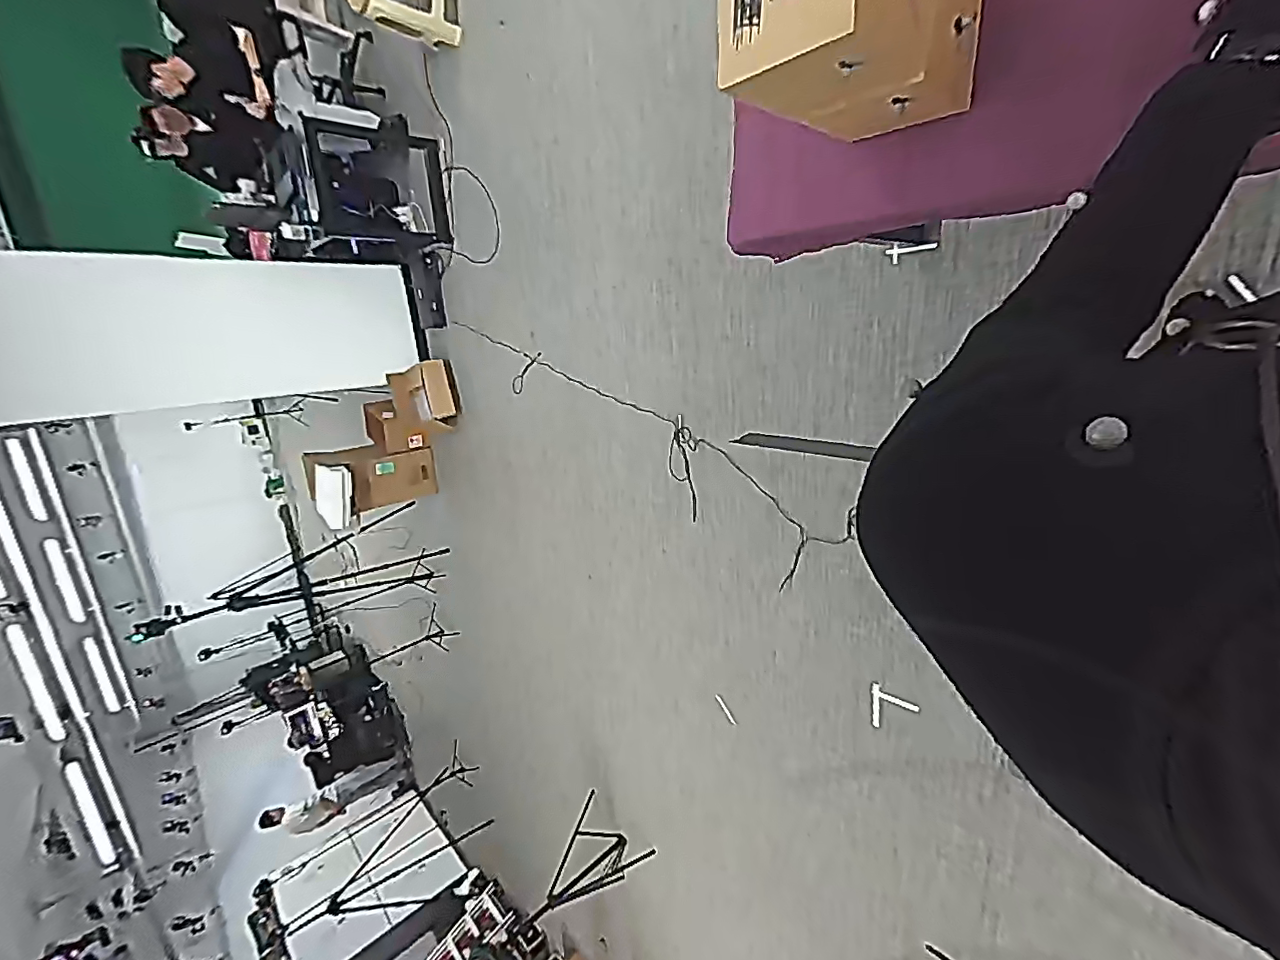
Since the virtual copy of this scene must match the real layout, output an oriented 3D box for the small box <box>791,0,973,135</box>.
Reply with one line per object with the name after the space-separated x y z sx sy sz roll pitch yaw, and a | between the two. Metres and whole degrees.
0.328 -0.591 0.731 0.179 0.176 0.168 16 115 45 | small box
